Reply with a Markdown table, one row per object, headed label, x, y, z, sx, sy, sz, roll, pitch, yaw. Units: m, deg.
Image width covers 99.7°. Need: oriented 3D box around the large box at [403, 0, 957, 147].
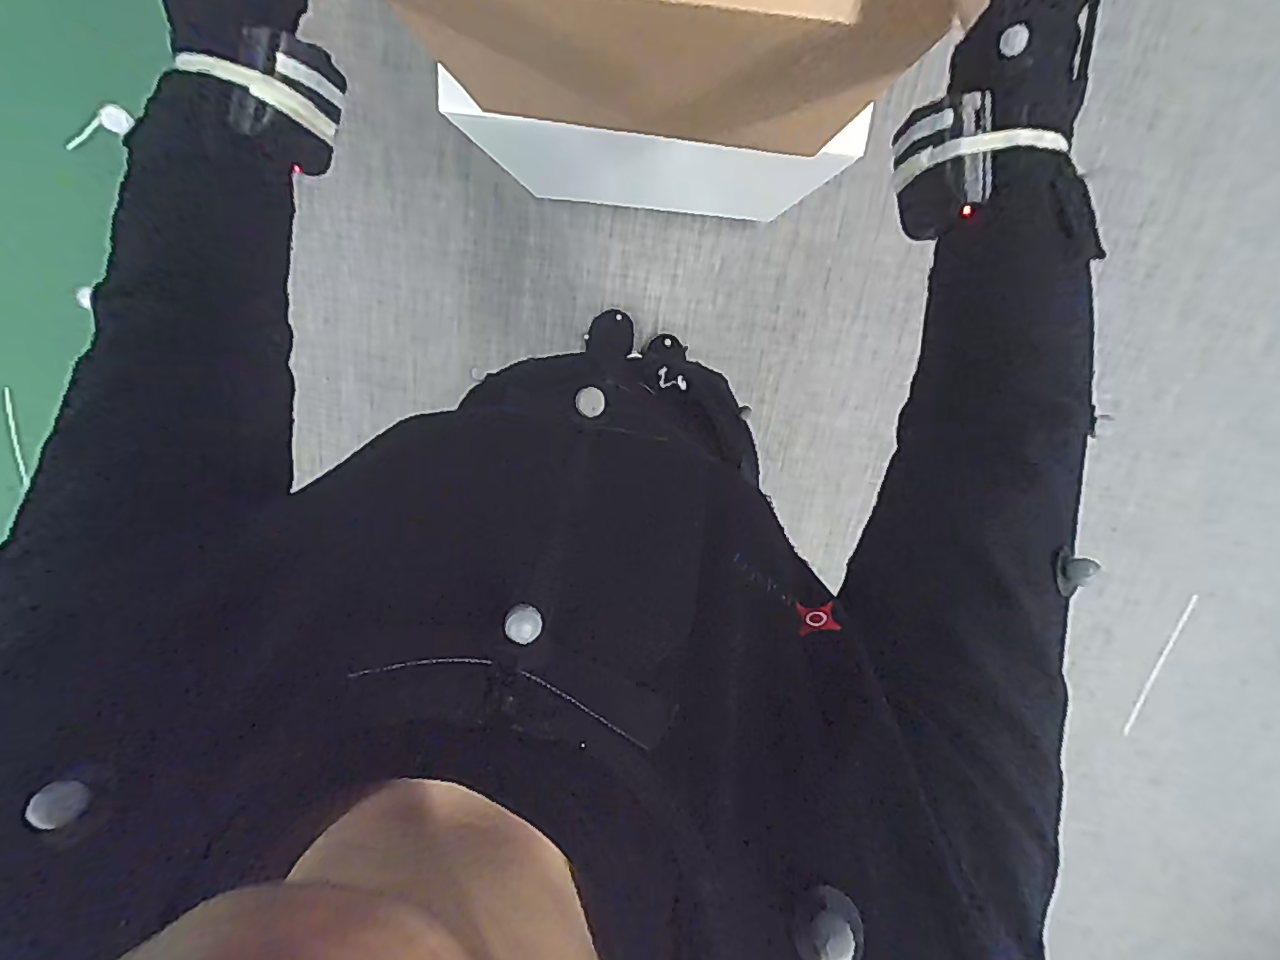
| label | x | y | z | sx | sy | sz | roll | pitch | yaw |
| --- | --- | --- | --- | --- | --- | --- | --- | --- | --- |
| large box | 0.028 | -0.513 | 0.456 | 0.408 | 0.320 | 0.320 | 6 | 109 | -2 |
